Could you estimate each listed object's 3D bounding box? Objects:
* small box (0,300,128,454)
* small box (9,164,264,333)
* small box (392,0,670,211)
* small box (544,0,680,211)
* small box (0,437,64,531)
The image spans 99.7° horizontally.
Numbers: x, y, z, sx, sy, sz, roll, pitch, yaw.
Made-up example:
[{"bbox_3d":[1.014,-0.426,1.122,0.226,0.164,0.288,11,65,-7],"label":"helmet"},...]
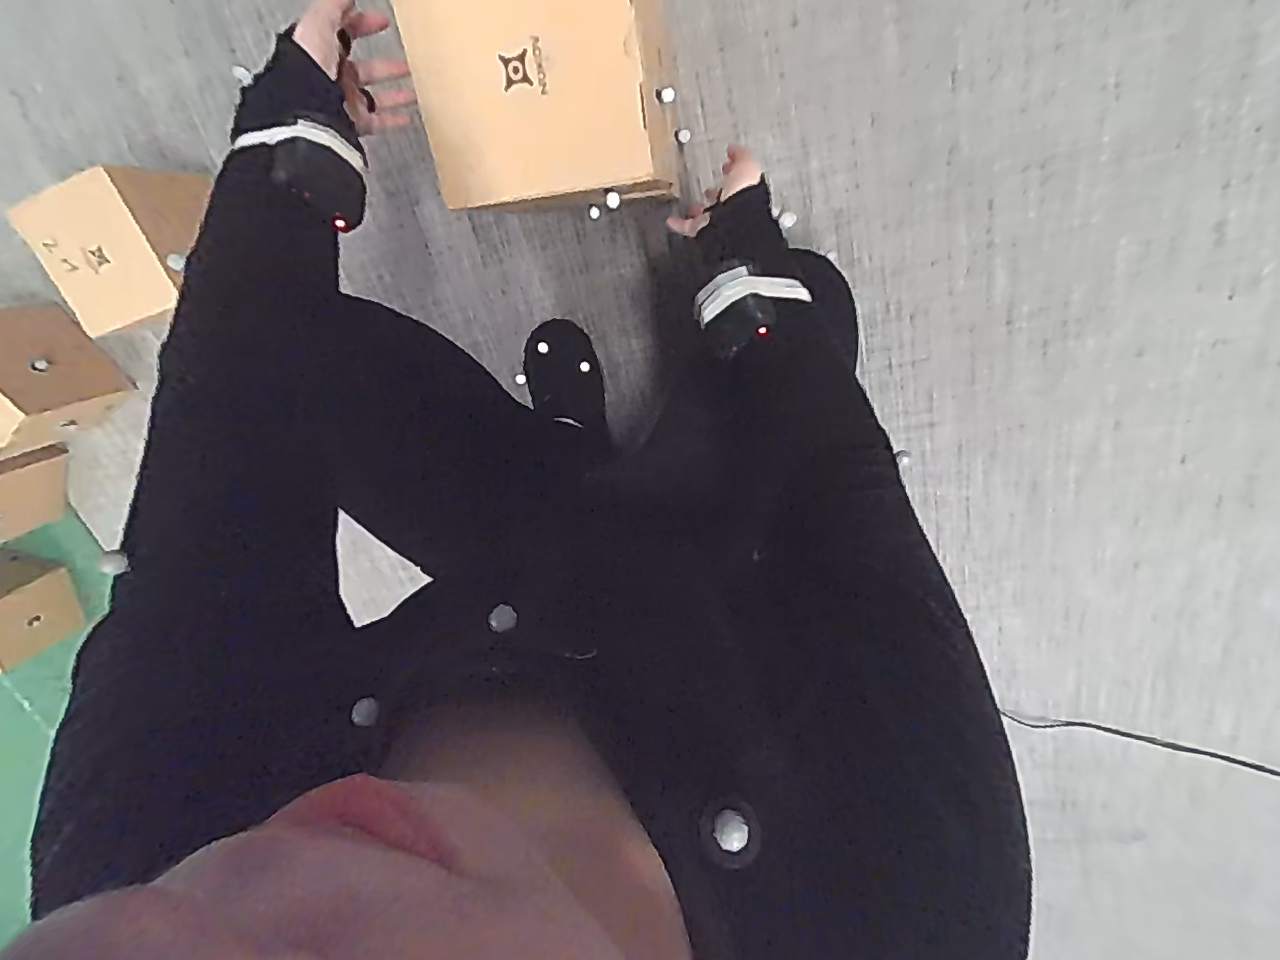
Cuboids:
[{"bbox_3d":[-1.022,-0.173,0.893,0.168,0.176,0.179,-27,109,21],"label":"small box"},{"bbox_3d":[-0.678,-0.323,0.759,0.179,0.176,0.168,-11,112,14],"label":"small box"},{"bbox_3d":[-0.076,-0.335,0.469,0.179,0.176,0.168,-3,116,11],"label":"small box"},{"bbox_3d":[-0.051,-0.403,0.615,0.179,0.176,0.168,0,116,9],"label":"small box"},{"bbox_3d":[-1.244,-0.009,1.010,0.168,0.176,0.179,32,116,-6],"label":"small box"}]
